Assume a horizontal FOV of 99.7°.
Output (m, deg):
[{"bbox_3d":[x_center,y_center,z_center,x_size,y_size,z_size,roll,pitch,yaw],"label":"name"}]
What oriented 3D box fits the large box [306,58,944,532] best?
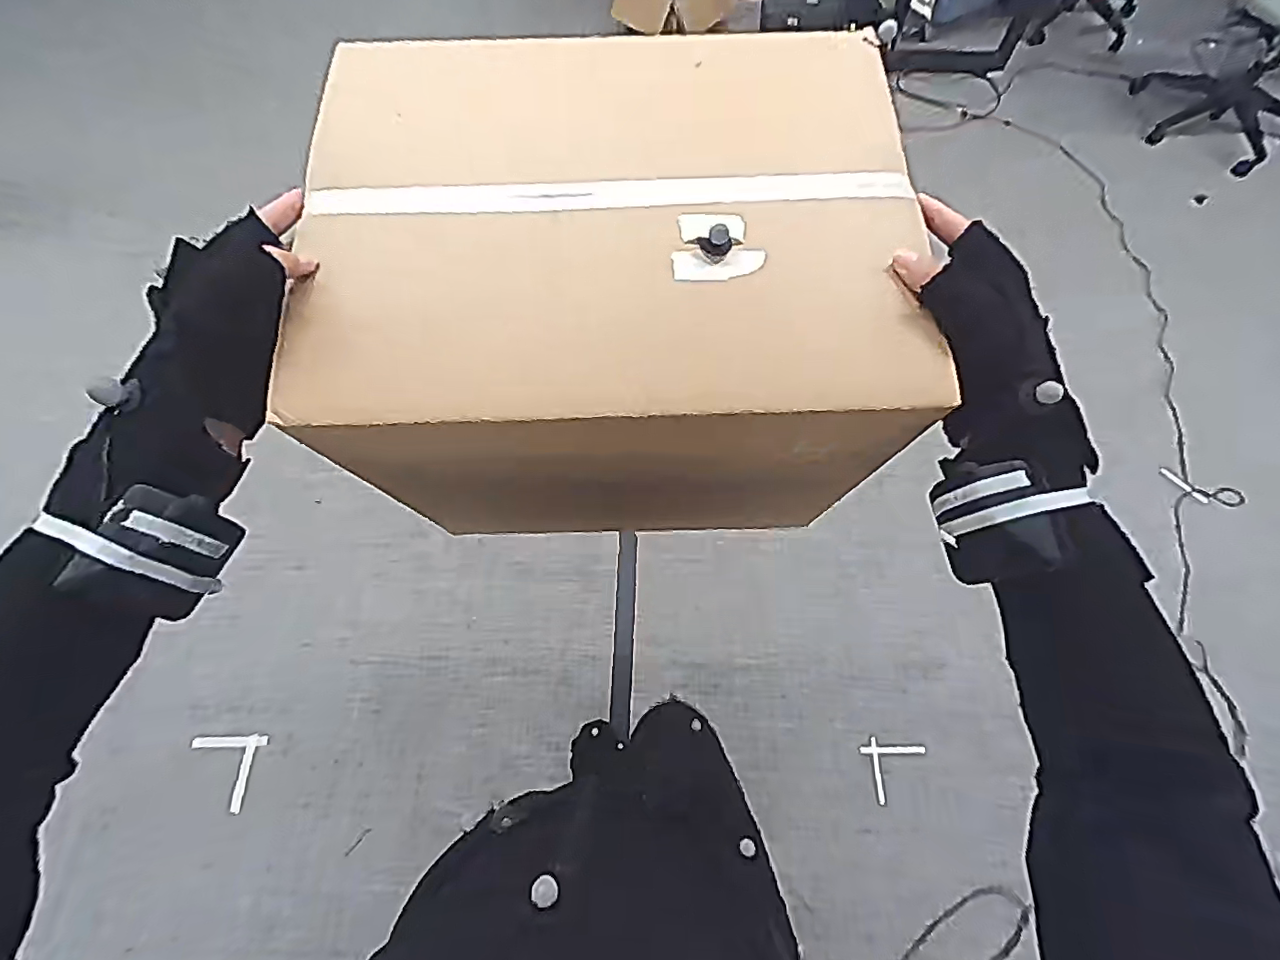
[{"bbox_3d":[-0.015,-0.137,0.519,0.408,0.320,0.320,-1,73,-1],"label":"large box"}]
